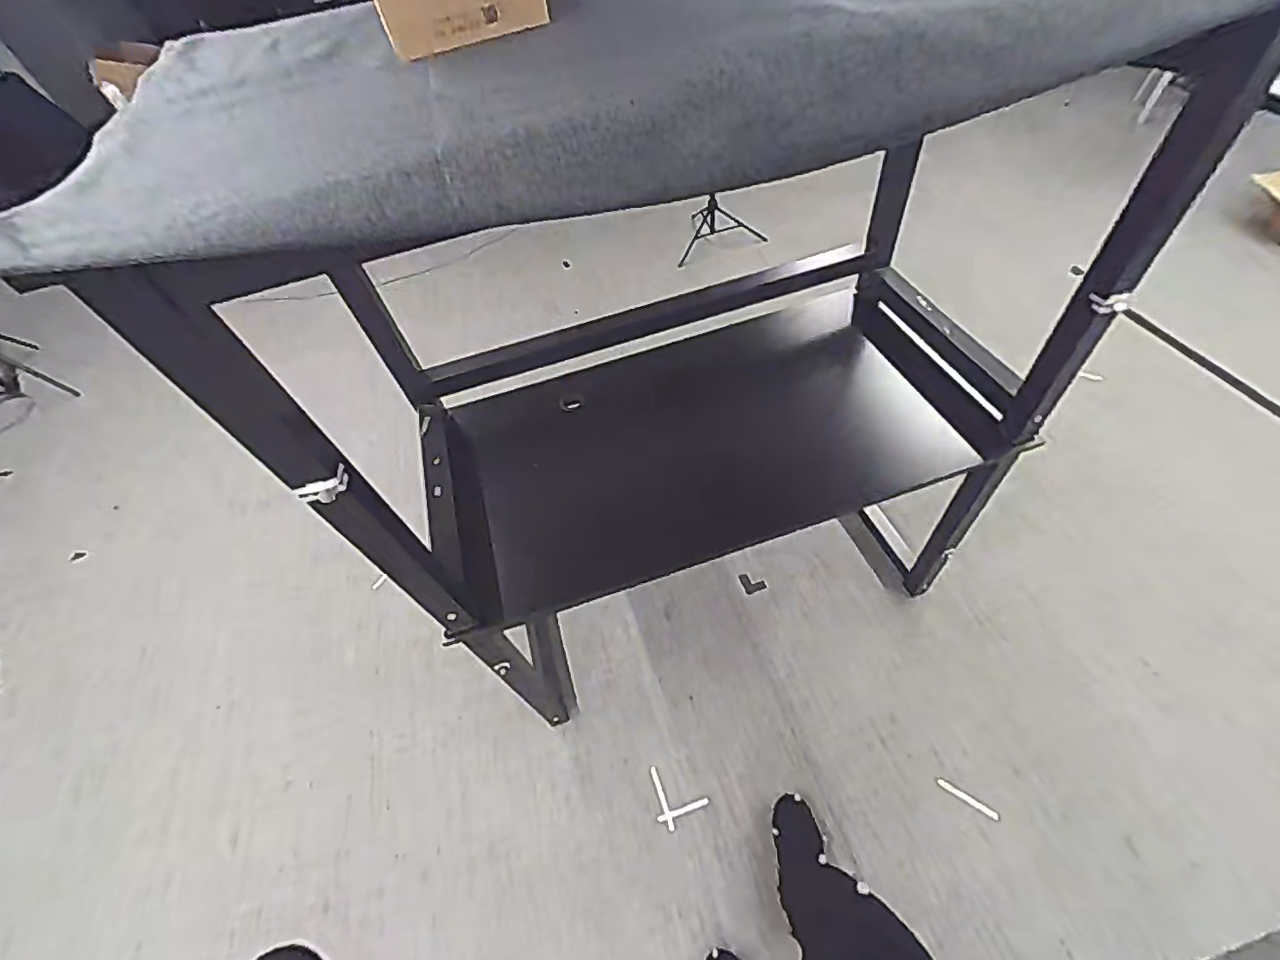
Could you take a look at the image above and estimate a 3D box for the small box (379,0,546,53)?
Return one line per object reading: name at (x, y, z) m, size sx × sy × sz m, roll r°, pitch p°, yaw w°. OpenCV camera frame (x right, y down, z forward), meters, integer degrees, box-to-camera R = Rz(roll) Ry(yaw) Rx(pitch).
small box at (-0.213, -0.579, 0.565) m, size 0.168 × 0.176 × 0.179 m, roll -22°, pitch 53°, yaw -8°
